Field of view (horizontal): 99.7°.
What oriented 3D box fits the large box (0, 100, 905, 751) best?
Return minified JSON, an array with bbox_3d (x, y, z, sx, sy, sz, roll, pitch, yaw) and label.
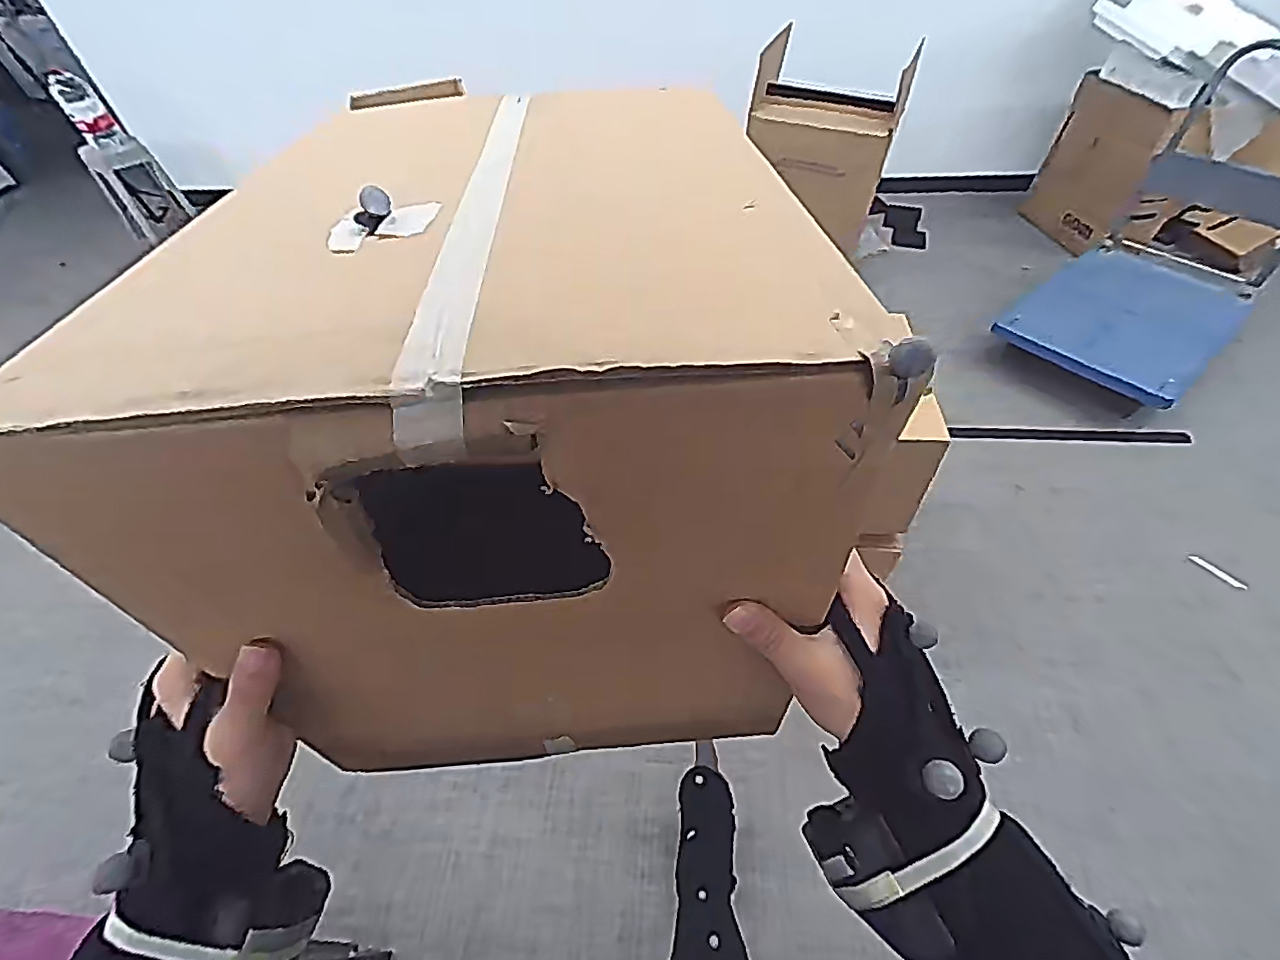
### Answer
[{"bbox_3d":[-0.075,-0.062,0.423,0.320,0.320,0.408,-6,46,-2],"label":"large box"}]
